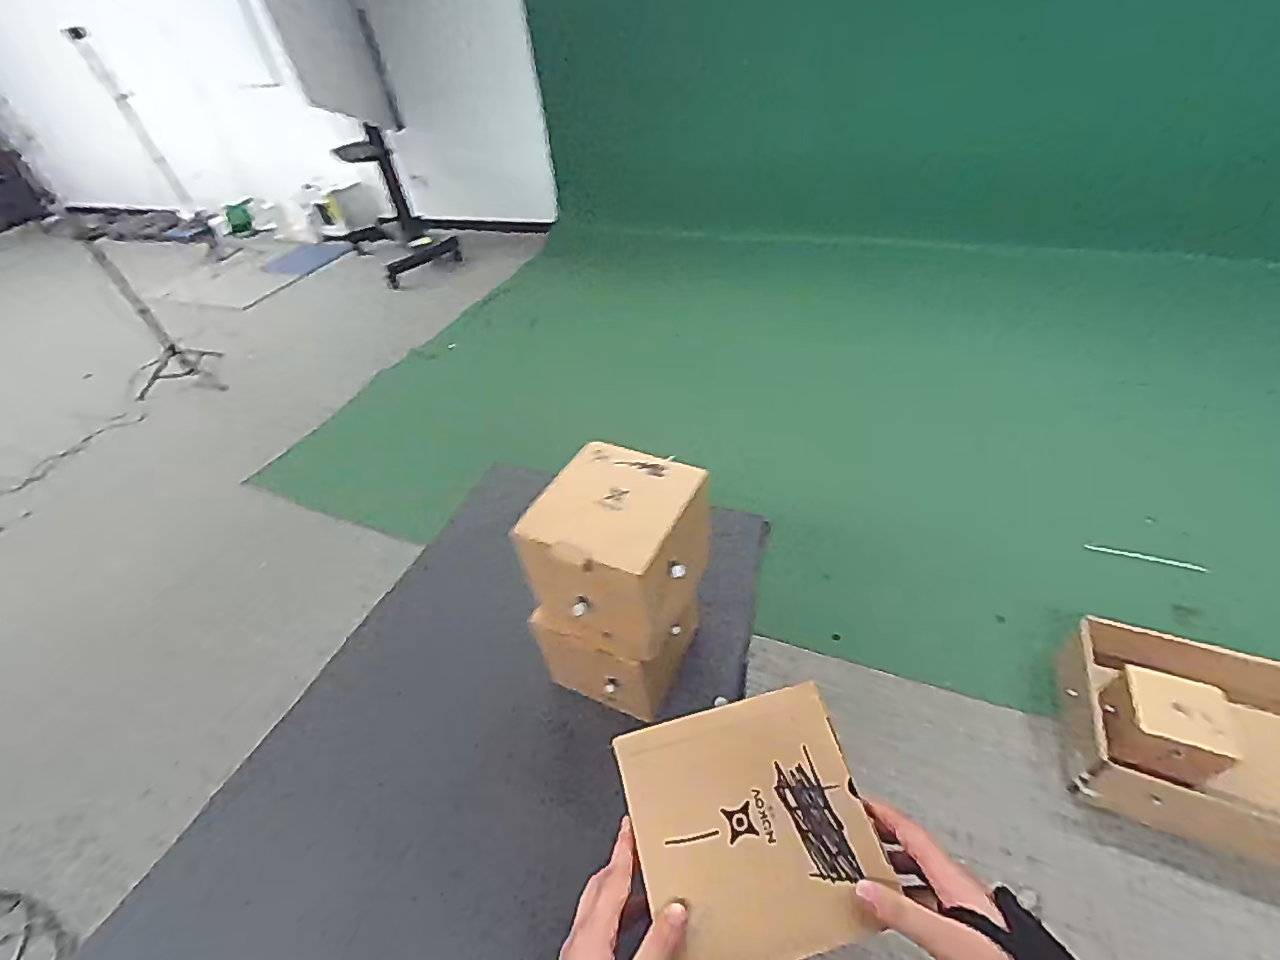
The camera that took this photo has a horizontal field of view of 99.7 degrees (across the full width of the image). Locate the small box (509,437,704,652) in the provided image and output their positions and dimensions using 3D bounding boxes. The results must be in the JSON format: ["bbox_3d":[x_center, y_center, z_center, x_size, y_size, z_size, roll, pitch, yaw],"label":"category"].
[{"bbox_3d":[-0.025,0.078,0.663,0.168,0.176,0.179,17,49,24],"label":"small box"}]

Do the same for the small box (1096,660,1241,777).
[{"bbox_3d":[1.185,0.548,1.235,0.179,0.176,0.168,13,48,19],"label":"small box"}]

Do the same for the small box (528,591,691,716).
[{"bbox_3d":[-0.030,0.202,0.773,0.168,0.176,0.179,14,46,21],"label":"small box"}]

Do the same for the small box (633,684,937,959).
[{"bbox_3d":[0.097,0.291,0.455,0.179,0.176,0.168,-13,56,-5],"label":"small box"}]
